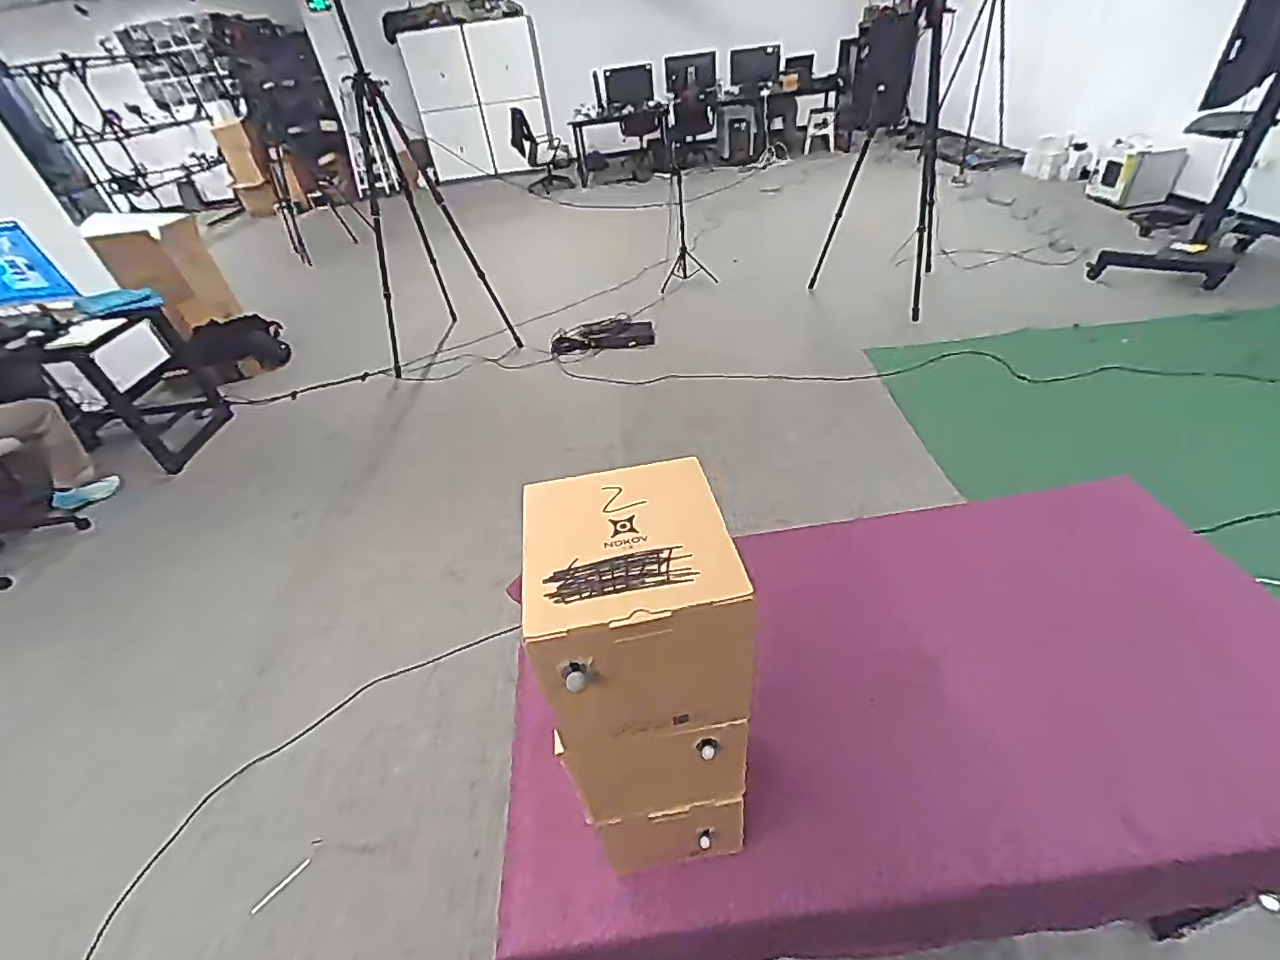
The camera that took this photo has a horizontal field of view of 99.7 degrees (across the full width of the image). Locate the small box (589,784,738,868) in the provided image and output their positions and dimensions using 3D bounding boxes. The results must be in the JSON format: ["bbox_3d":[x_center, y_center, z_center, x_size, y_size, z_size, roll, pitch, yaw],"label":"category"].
[{"bbox_3d":[0.026,0.367,0.690,0.168,0.176,0.179,-8,38,-2],"label":"small box"}]

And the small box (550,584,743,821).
[{"bbox_3d":[0.005,0.242,0.589,0.179,0.176,0.168,-9,39,-4],"label":"small box"}]
